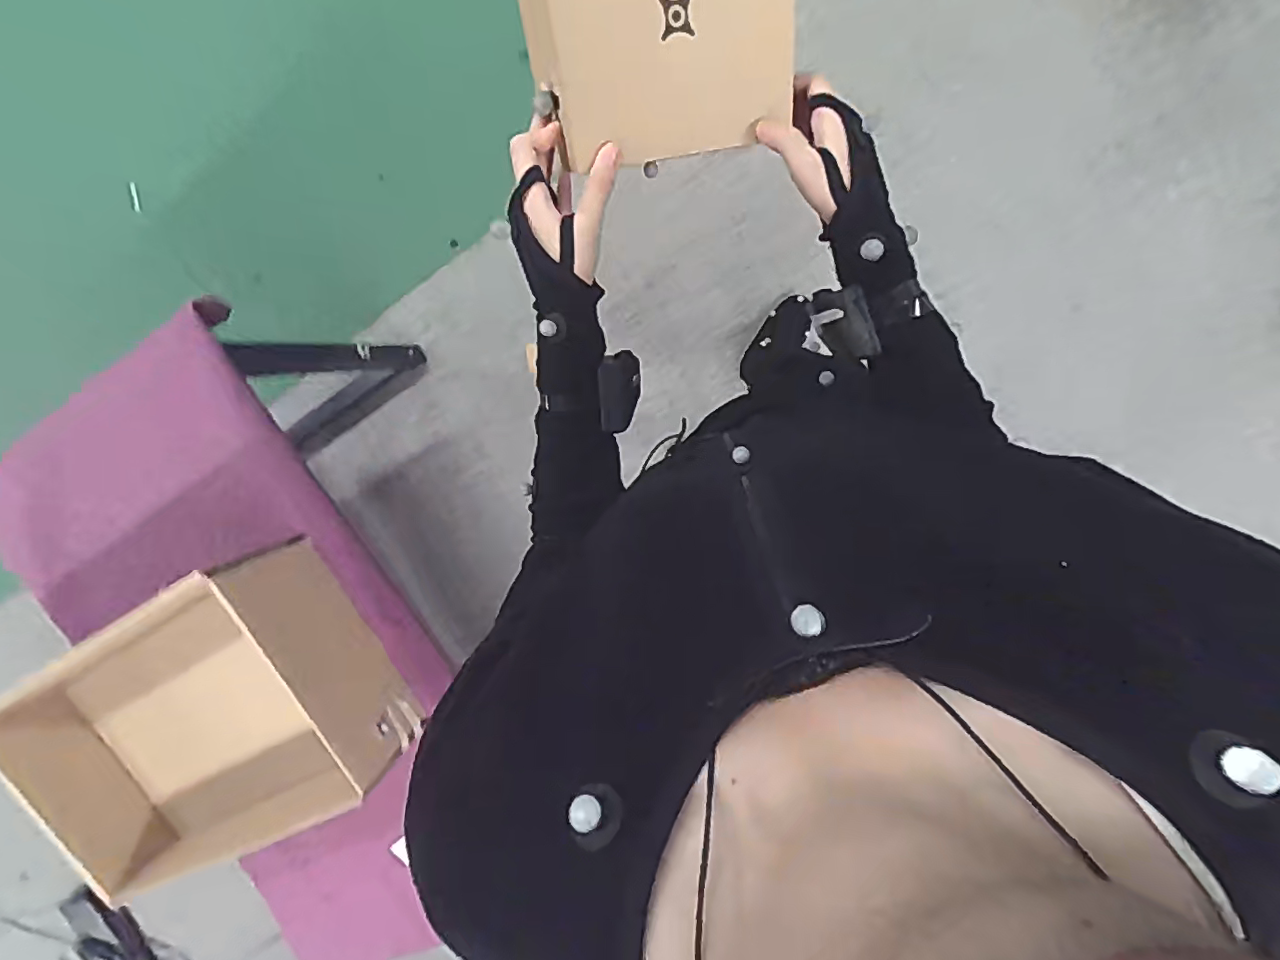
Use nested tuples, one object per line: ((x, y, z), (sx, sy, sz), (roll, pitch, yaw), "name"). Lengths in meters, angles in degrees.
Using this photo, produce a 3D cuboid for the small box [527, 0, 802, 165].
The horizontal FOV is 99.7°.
((0.008, -0.350, 0.408), (0.168, 0.176, 0.179), (-14, 122, -9), "small box")
